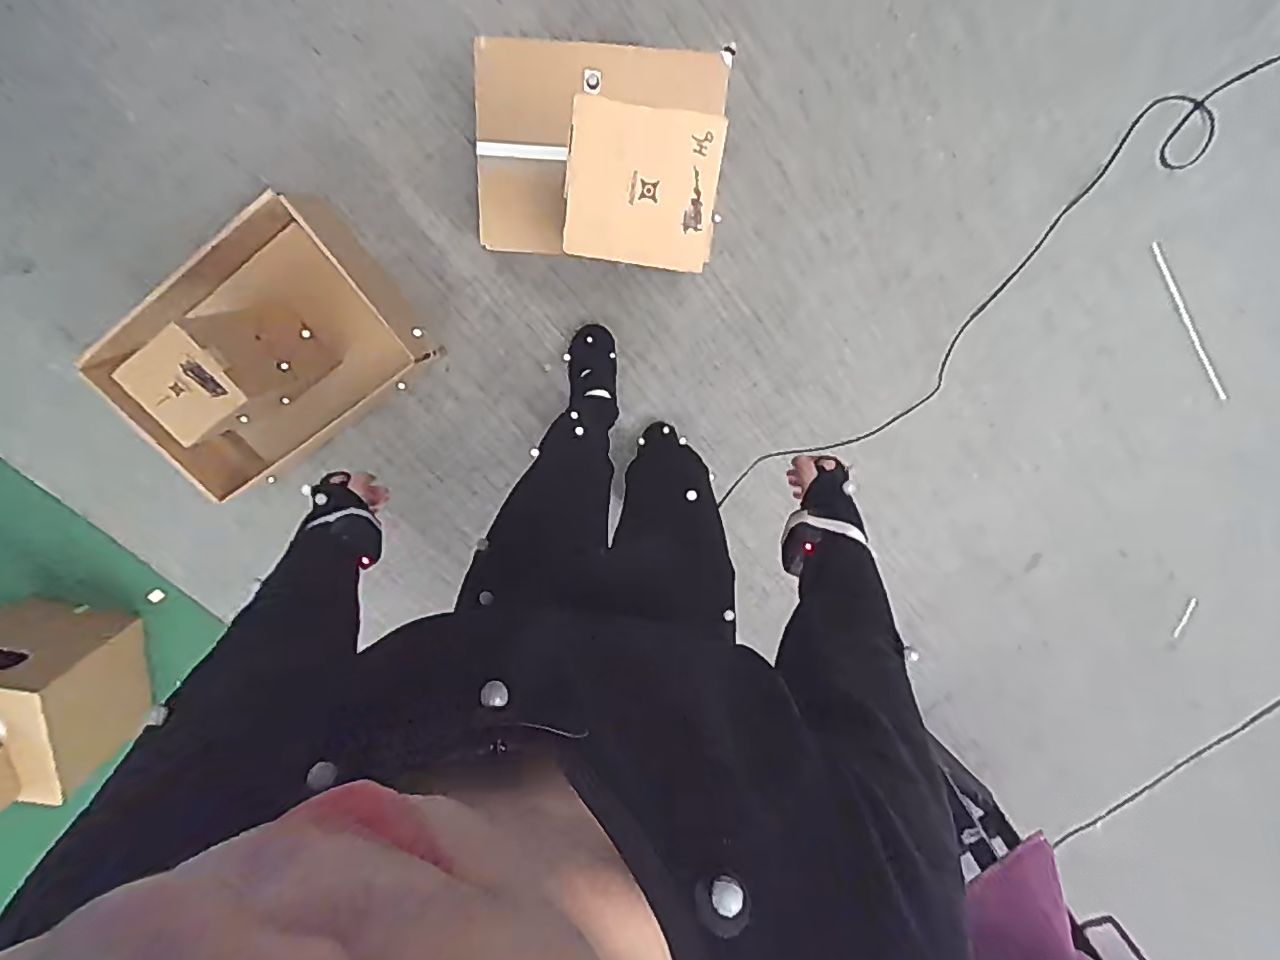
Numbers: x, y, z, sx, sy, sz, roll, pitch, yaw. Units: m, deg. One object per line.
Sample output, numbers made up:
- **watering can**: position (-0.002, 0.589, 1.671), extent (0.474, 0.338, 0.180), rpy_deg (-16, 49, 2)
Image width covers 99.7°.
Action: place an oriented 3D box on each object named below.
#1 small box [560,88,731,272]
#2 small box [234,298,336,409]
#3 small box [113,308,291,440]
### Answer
- **small box**: position (0.003, -0.373, 0.694), extent (0.179, 0.176, 0.168), rpy_deg (8, 116, -4)
- **small box**: position (-0.816, -0.277, 1.183), extent (0.179, 0.176, 0.168), rpy_deg (-31, 111, 12)
- **small box**: position (-0.815, -0.210, 1.033), extent (0.179, 0.176, 0.168), rpy_deg (-30, 110, 13)
